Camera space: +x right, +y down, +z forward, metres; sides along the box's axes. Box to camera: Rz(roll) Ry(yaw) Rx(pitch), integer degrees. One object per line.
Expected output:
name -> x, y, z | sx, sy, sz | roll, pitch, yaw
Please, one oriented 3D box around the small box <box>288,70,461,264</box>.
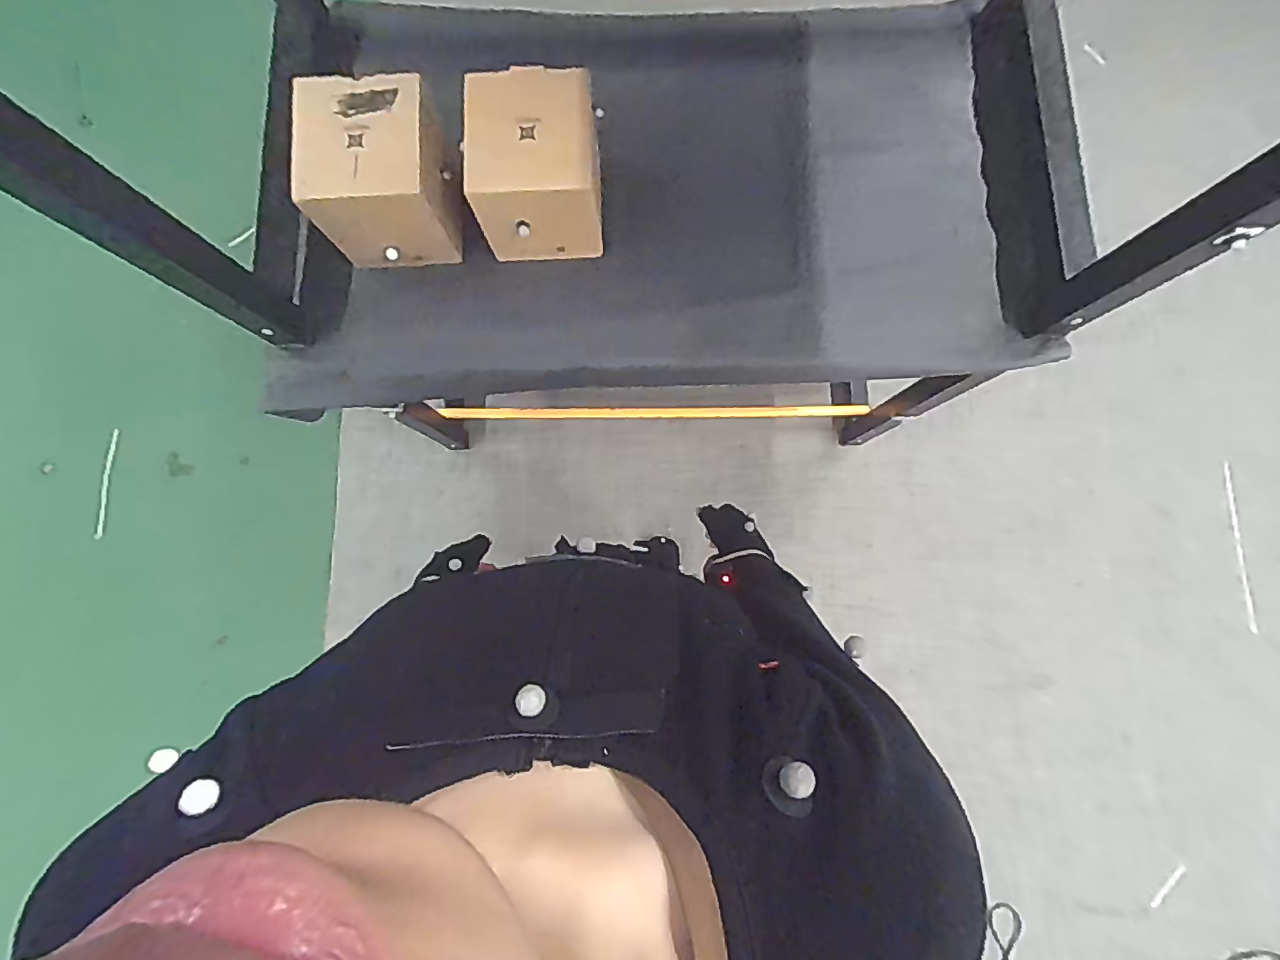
small box -> -0.363, -0.434, 0.769 | 0.168, 0.176, 0.179 | -3, 82, 0
